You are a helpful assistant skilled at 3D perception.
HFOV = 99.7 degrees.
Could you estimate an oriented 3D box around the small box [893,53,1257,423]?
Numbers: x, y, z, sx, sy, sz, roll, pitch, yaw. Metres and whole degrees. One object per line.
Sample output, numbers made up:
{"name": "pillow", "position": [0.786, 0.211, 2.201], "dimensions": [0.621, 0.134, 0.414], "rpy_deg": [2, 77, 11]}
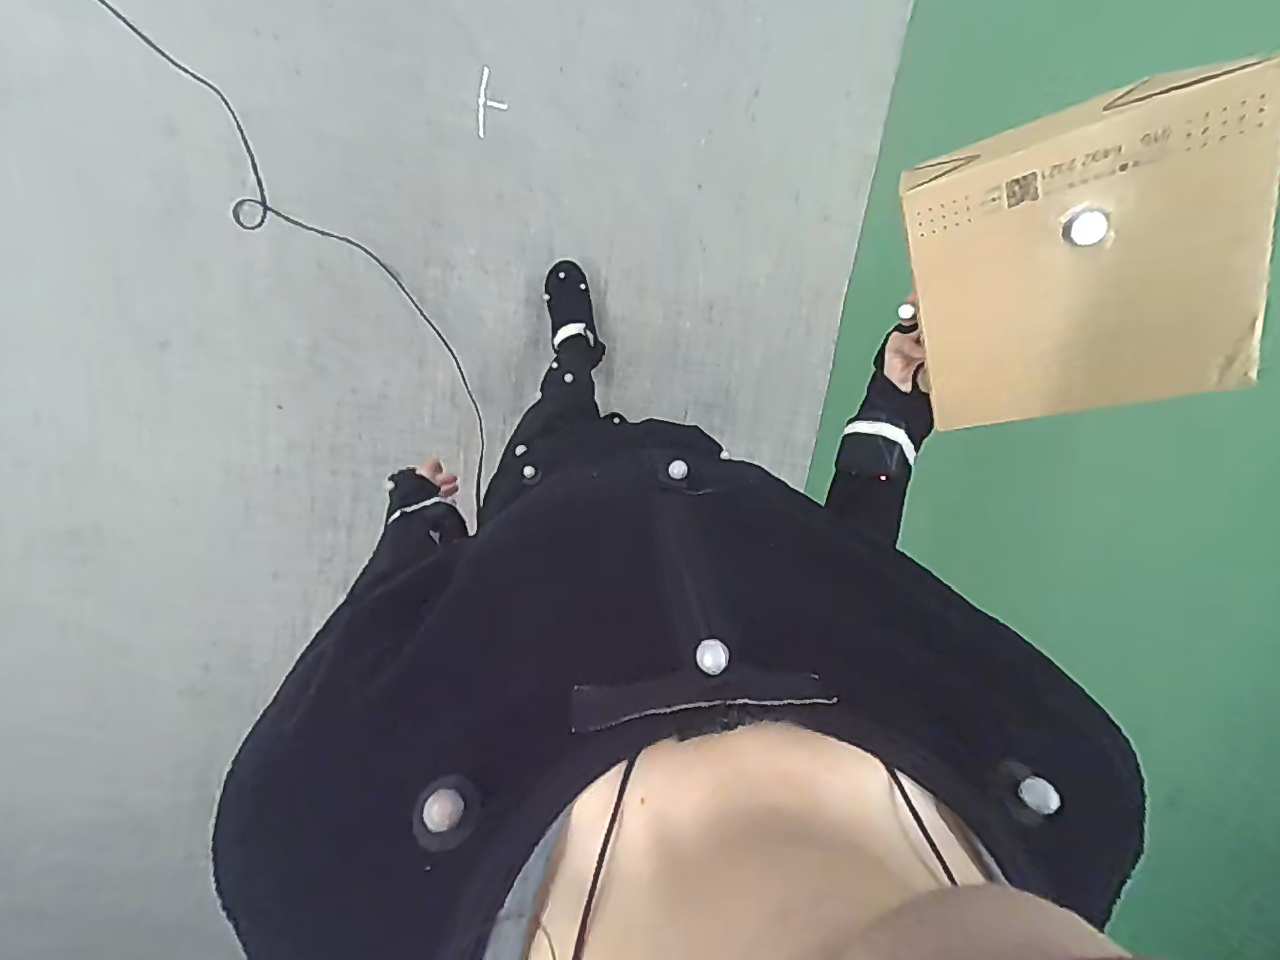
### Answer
{"name": "small box", "position": [0.285, -0.165, 0.384], "dimensions": [0.168, 0.179, 0.176], "rpy_deg": [-9, 116, 31]}
